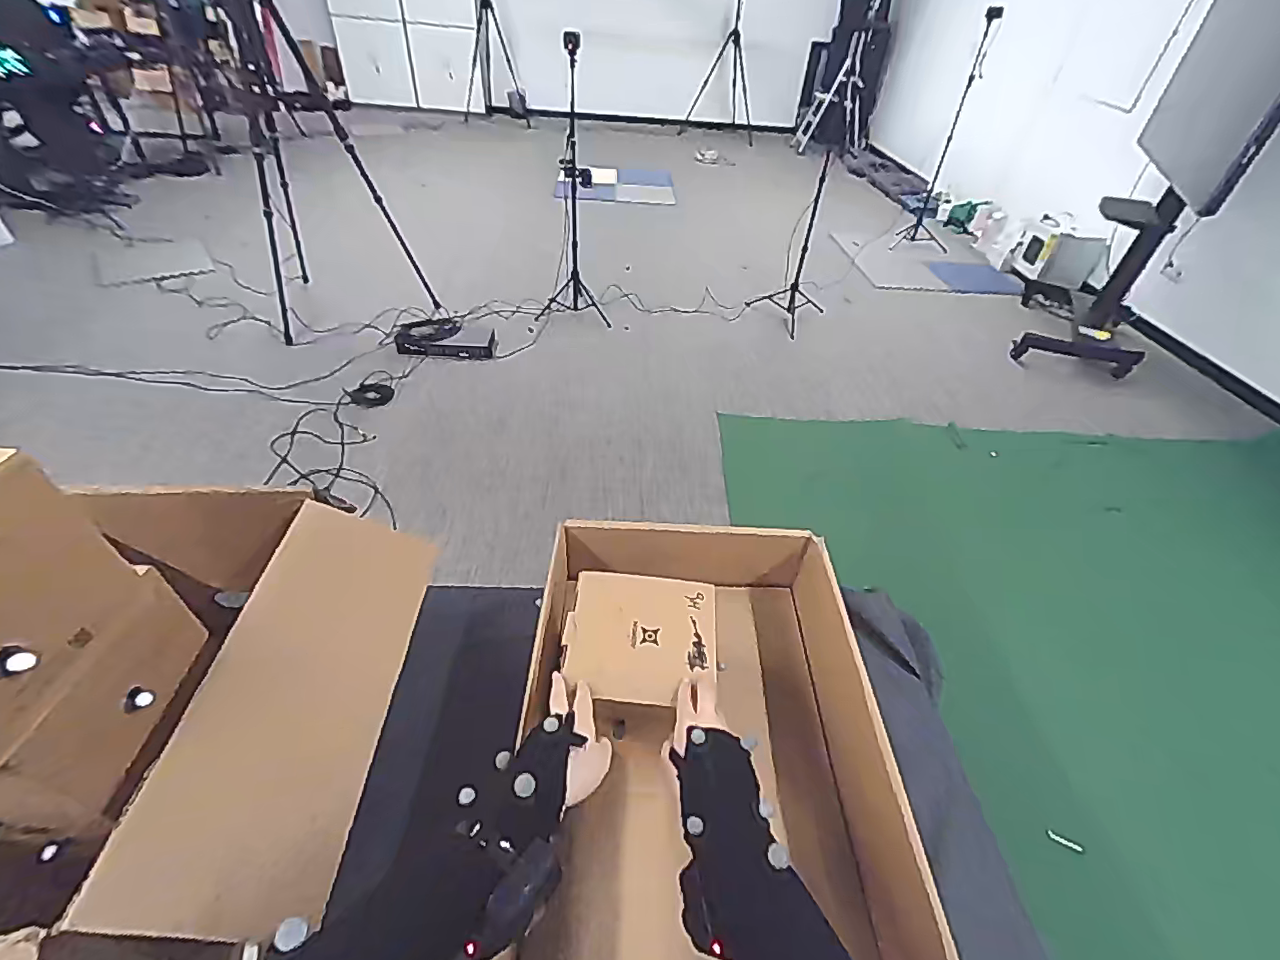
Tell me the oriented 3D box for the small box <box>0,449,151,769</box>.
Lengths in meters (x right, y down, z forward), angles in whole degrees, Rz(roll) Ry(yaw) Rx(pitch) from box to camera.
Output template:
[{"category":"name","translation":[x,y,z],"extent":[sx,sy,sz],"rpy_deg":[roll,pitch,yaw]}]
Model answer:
[{"category":"small box","translation":[-0.511,0.087,0.367],"extent":[0.179,0.176,0.168],"rpy_deg":[6,43,0]}]
